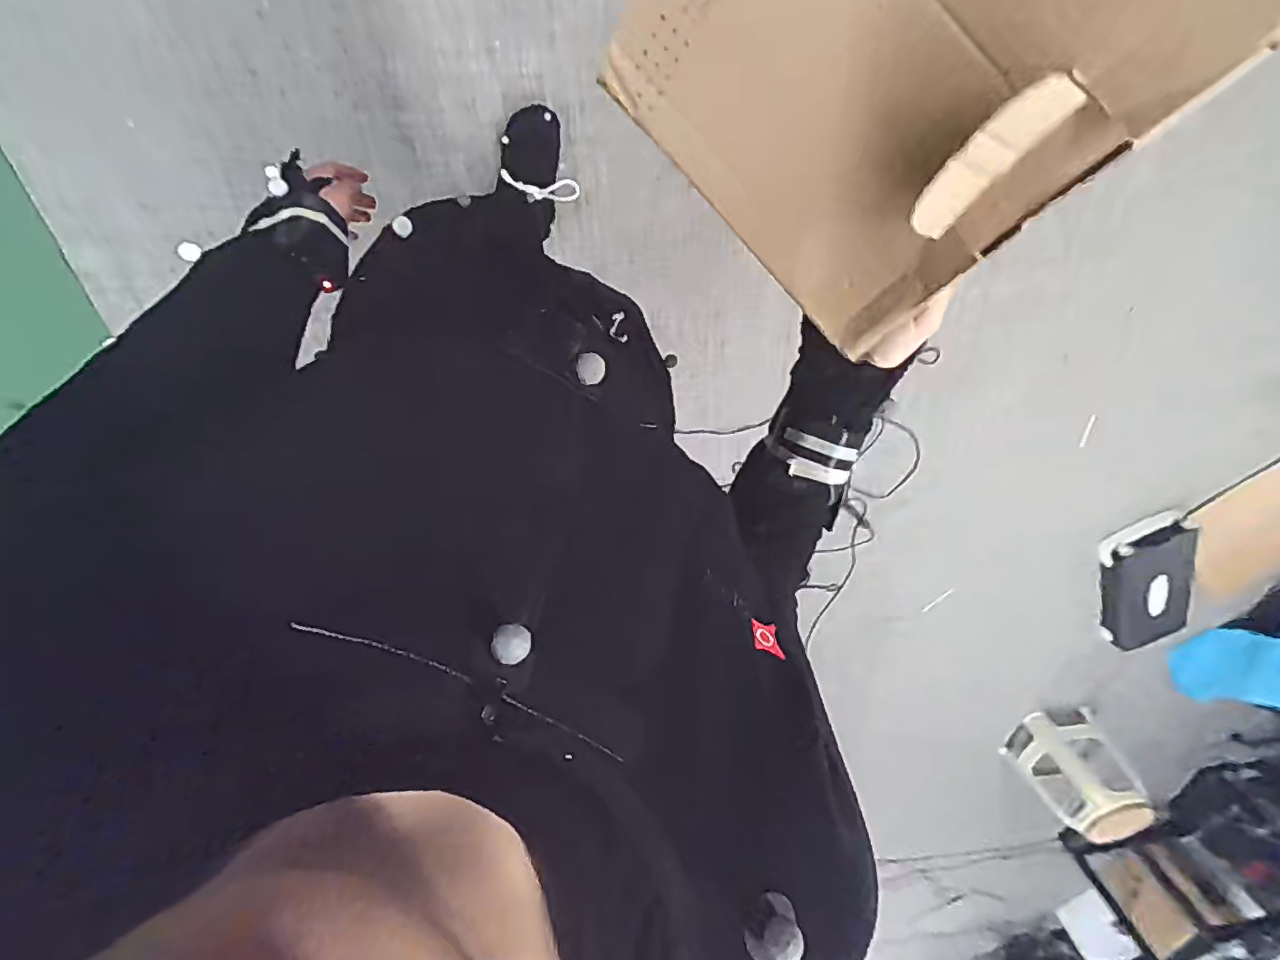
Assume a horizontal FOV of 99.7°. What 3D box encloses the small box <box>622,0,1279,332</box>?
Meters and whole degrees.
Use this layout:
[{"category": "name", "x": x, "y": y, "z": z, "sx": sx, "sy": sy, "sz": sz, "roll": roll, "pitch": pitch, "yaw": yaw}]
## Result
[{"category": "small box", "x": 0.128, "y": -0.200, "z": 0.223, "sx": 0.176, "sy": 0.179, "sz": 0.168, "roll": 48, "pitch": 138, "yaw": -1}]
